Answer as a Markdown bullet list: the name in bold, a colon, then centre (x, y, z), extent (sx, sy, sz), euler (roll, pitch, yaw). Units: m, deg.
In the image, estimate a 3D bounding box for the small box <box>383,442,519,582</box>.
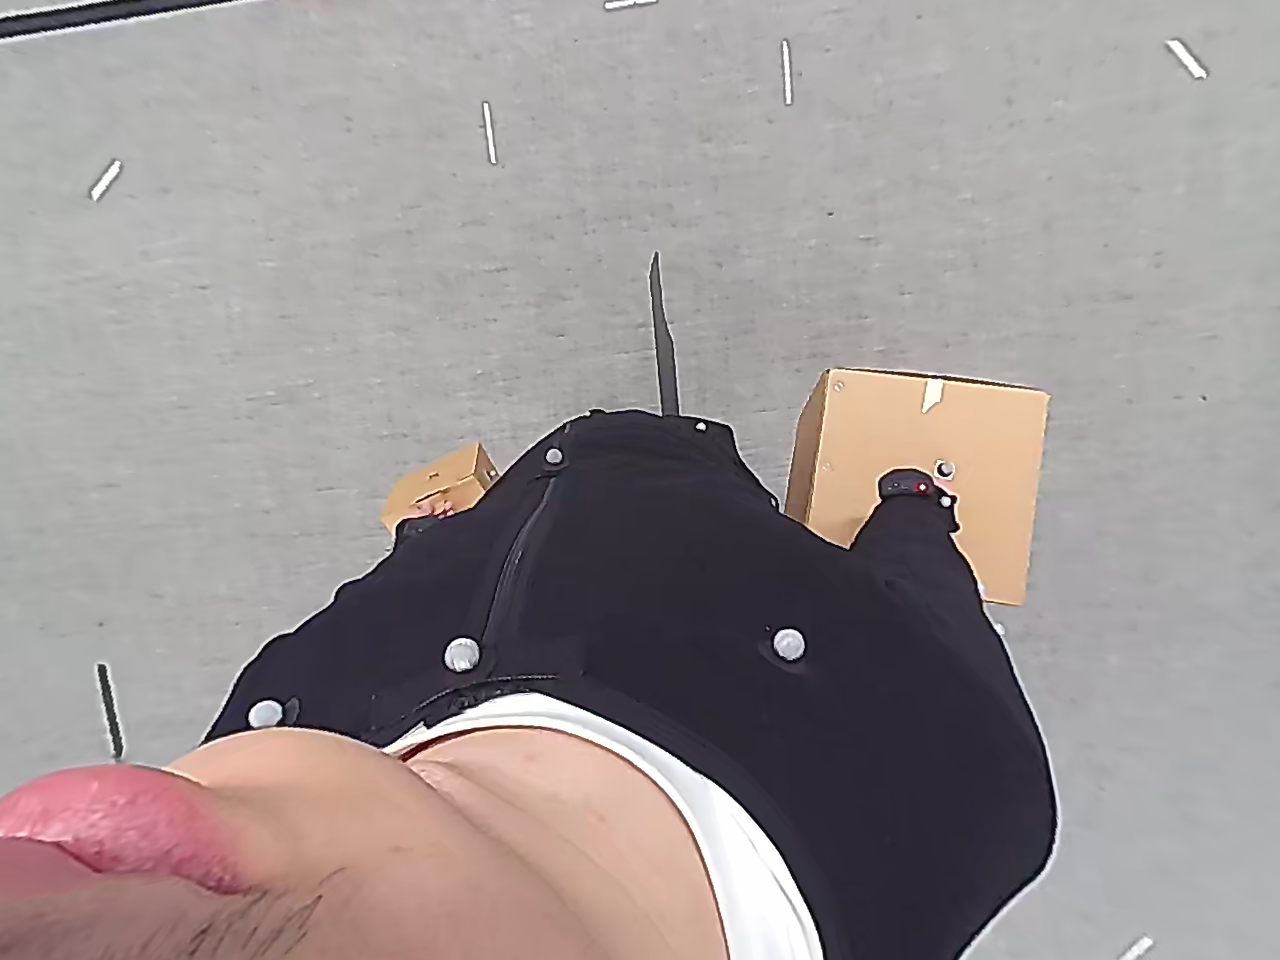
- **small box**: centre (-0.329, 0.061, 0.980), extent (0.168, 0.179, 0.176), euler (-25, 116, -2)
